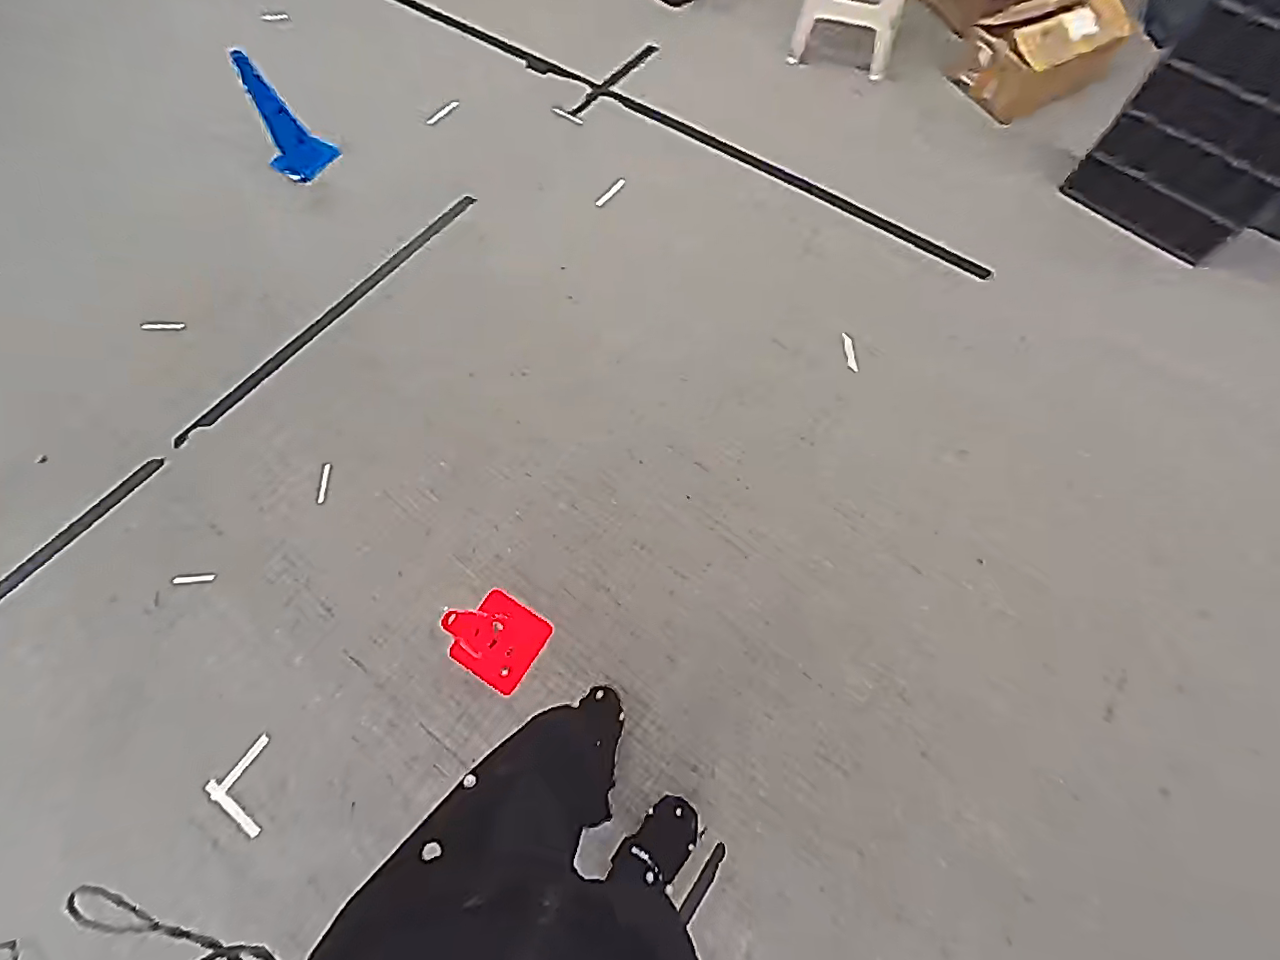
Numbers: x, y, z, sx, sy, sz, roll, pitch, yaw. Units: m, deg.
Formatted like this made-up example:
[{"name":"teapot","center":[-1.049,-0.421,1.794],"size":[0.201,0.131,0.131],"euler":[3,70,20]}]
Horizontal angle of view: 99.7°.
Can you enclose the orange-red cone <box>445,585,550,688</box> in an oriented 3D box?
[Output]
[{"name":"orange-red cone","center":[-0.351,0.319,1.184],"size":[0.198,0.360,0.199],"euler":[32,71,13]}]

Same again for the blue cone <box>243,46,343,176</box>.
[{"name":"blue cone","center":[-1.236,-1.287,1.872],"size":[0.192,0.380,0.193],"euler":[31,72,13]}]
